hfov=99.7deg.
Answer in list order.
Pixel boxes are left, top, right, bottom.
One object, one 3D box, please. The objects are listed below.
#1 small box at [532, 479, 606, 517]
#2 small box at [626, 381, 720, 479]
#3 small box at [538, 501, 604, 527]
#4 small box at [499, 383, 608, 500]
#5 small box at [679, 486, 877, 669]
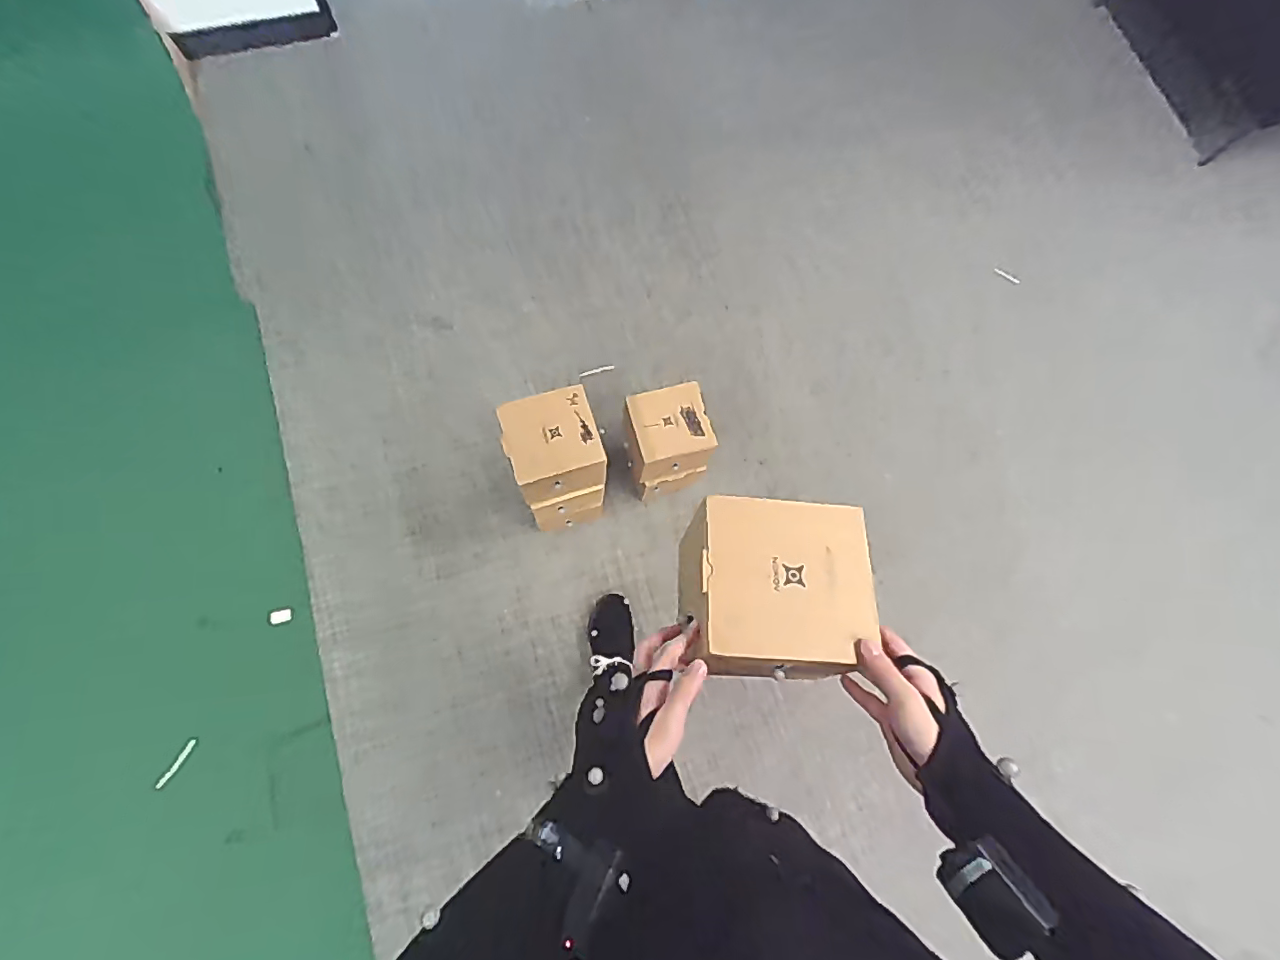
[{"bbox_3d":[-0.179,-0.023,1.259,0.168,0.176,0.179,-18,77,-8],"label":"small box"},{"bbox_3d":[0.072,-0.115,1.300,0.179,0.176,0.168,-14,76,-7],"label":"small box"},{"bbox_3d":[-0.193,0.019,1.415,0.168,0.176,0.179,-15,77,-9],"label":"small box"},{"bbox_3d":[-0.169,-0.070,1.102,0.179,0.176,0.168,-17,77,-8],"label":"small box"},{"bbox_3d":[0.142,0.121,0.625,0.179,0.176,0.168,5,65,-4],"label":"small box"}]
